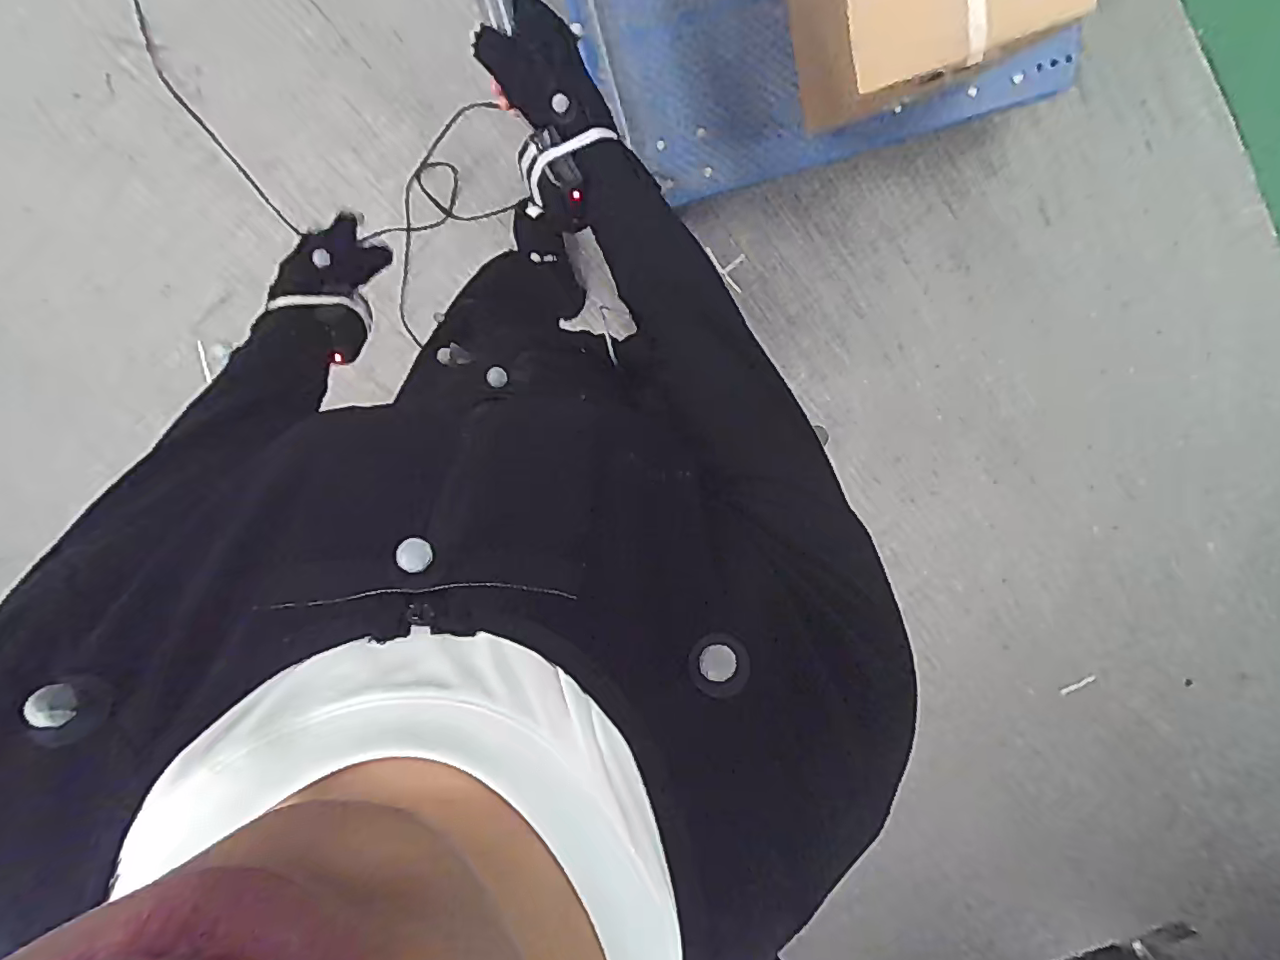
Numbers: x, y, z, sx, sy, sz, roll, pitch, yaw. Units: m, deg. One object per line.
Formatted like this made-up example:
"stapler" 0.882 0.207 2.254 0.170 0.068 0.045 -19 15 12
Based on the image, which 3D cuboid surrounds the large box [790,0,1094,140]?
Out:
"large box" 0.413 -0.814 0.819 0.320 0.320 0.408 -15 110 8
